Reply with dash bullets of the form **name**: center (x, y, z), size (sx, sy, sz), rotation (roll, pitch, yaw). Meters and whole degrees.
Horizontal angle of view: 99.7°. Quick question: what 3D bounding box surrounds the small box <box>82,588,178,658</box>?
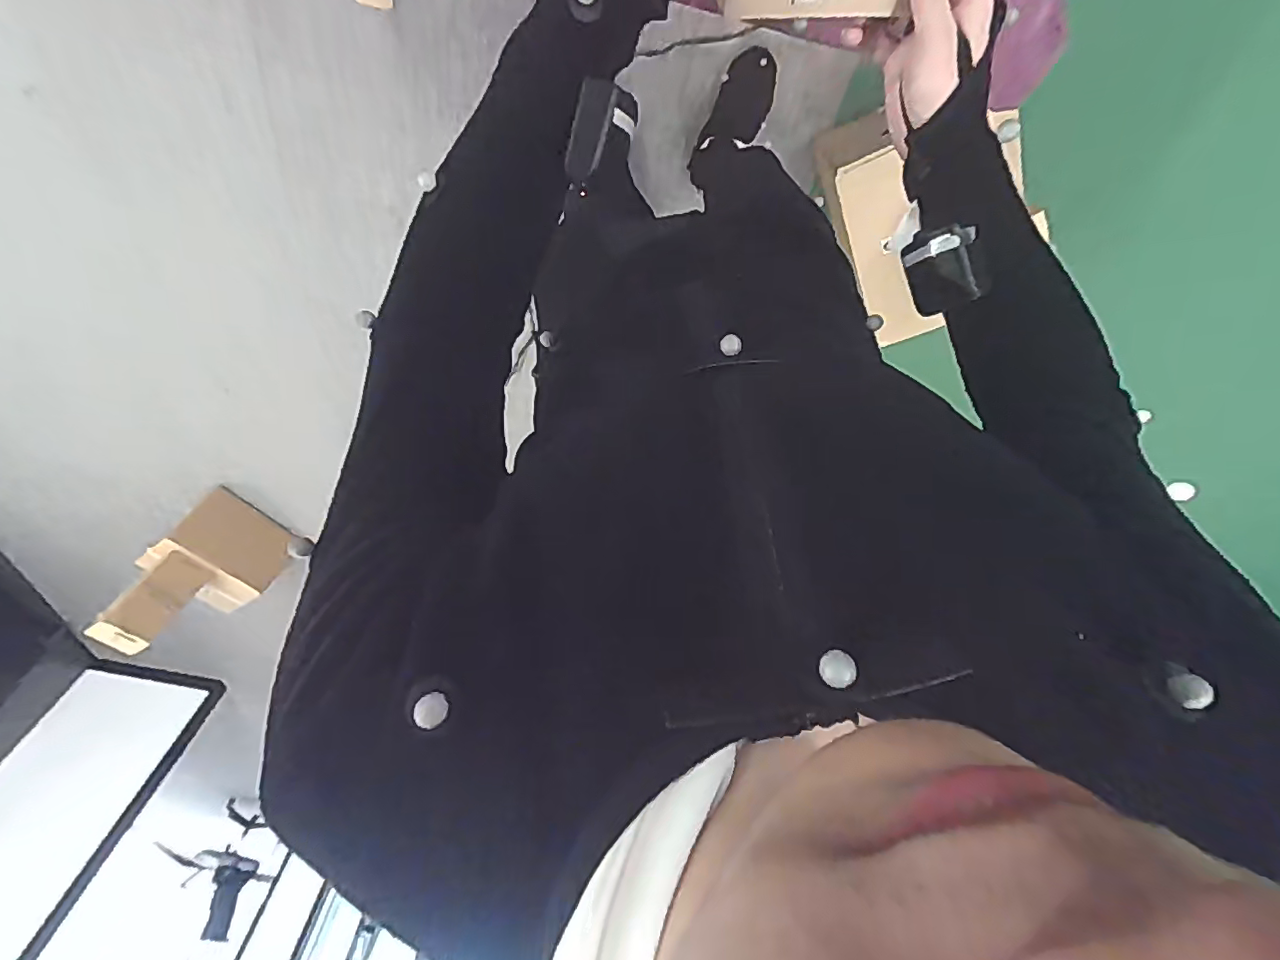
- **small box**: center (-1.835, 0.516, 1.958), size (0.179, 0.176, 0.168), rotation (-23, 124, 26)

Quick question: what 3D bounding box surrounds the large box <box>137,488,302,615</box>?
- **large box**: center (-1.782, 0.310, 2.317), size (0.320, 0.320, 0.408), rotation (-25, 124, 27)

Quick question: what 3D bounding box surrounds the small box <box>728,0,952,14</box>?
- **small box**: center (0.141, -0.453, 0.365), size (0.168, 0.176, 0.179), rotation (-1, 146, -1)

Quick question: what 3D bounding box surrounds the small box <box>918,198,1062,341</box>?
- **small box**: center (0.652, -0.404, 1.022), size (0.168, 0.176, 0.179), rotation (-24, 124, 25)
